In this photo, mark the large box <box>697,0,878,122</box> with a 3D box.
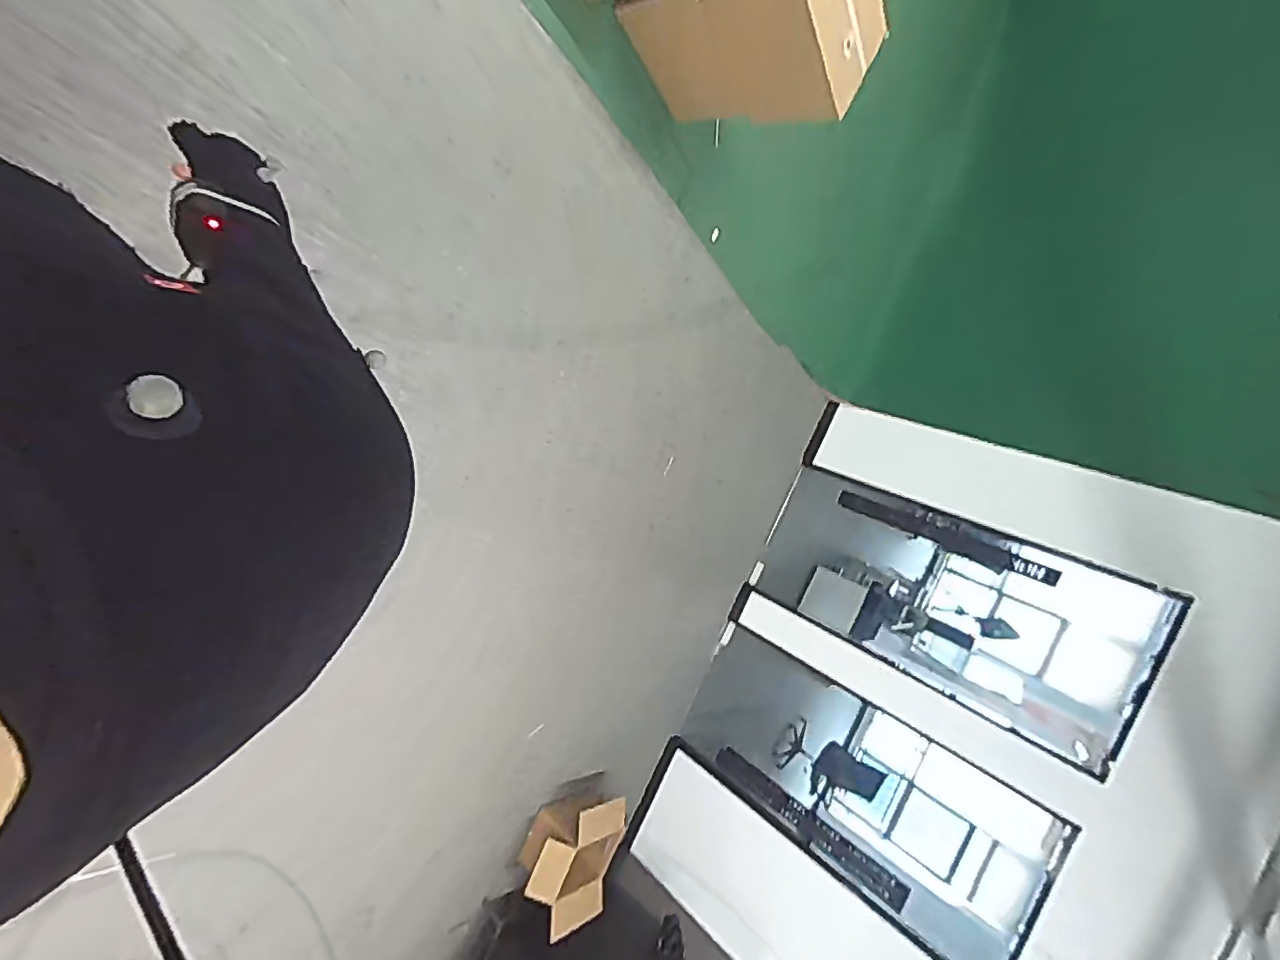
[{"bbox_3d":[0.420,-1.290,1.503,0.408,0.320,0.320,30,88,-55],"label":"large box"}]
